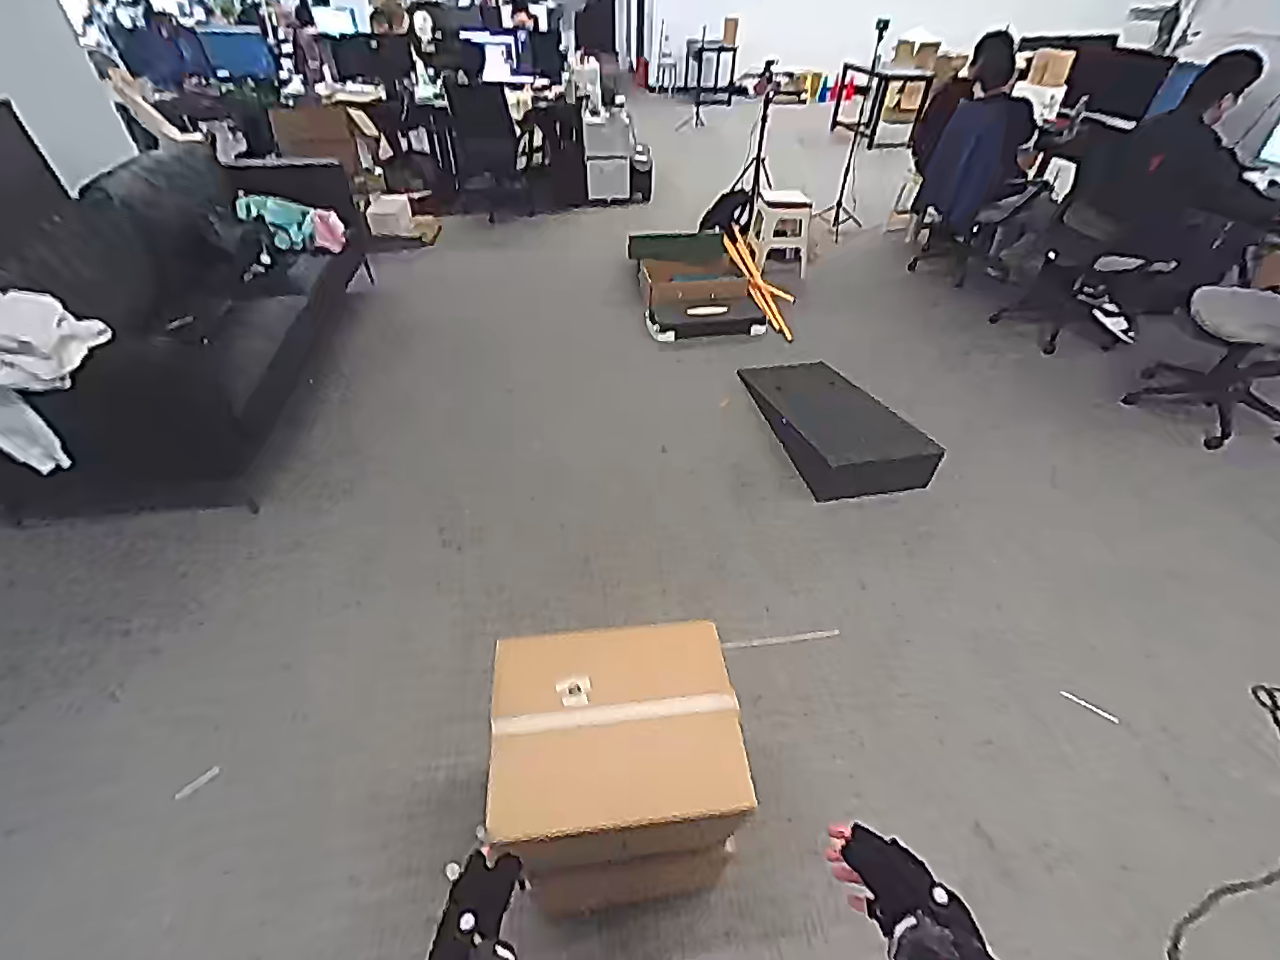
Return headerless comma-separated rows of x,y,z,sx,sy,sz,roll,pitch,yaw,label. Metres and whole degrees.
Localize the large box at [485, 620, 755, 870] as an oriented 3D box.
-0.043,0.488,0.993,0.408,0.320,0.320,-5,48,-5,large box
